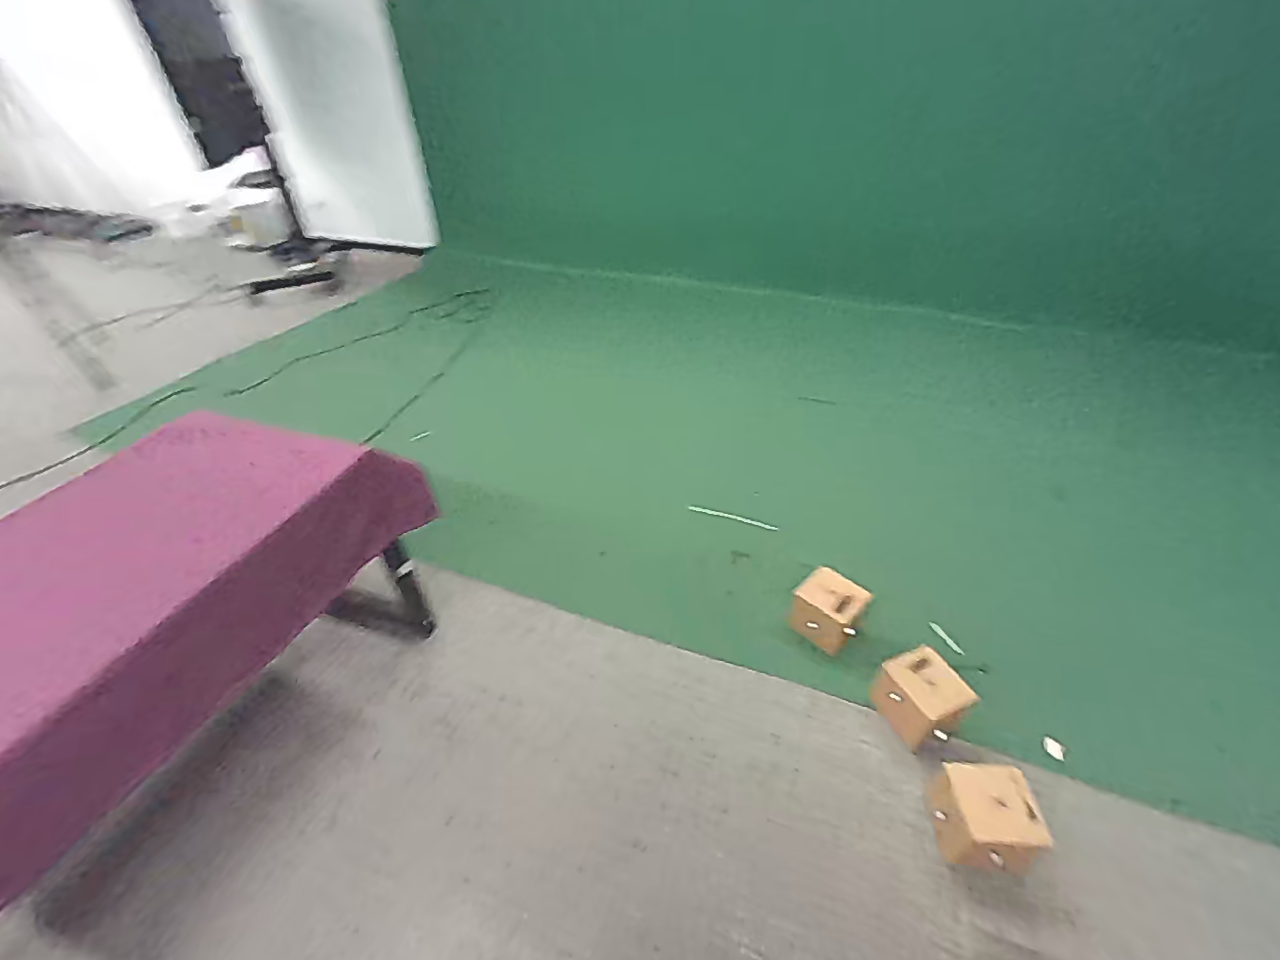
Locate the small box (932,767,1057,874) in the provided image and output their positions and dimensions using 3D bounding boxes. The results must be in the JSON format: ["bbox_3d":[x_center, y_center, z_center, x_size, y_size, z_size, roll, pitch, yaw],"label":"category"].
[{"bbox_3d":[0.809,0.795,1.262,0.179,0.176,0.168,1,39,4],"label":"small box"}]

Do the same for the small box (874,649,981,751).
[{"bbox_3d":[0.783,0.608,1.494,0.168,0.176,0.179,-15,42,-17],"label":"small box"}]
